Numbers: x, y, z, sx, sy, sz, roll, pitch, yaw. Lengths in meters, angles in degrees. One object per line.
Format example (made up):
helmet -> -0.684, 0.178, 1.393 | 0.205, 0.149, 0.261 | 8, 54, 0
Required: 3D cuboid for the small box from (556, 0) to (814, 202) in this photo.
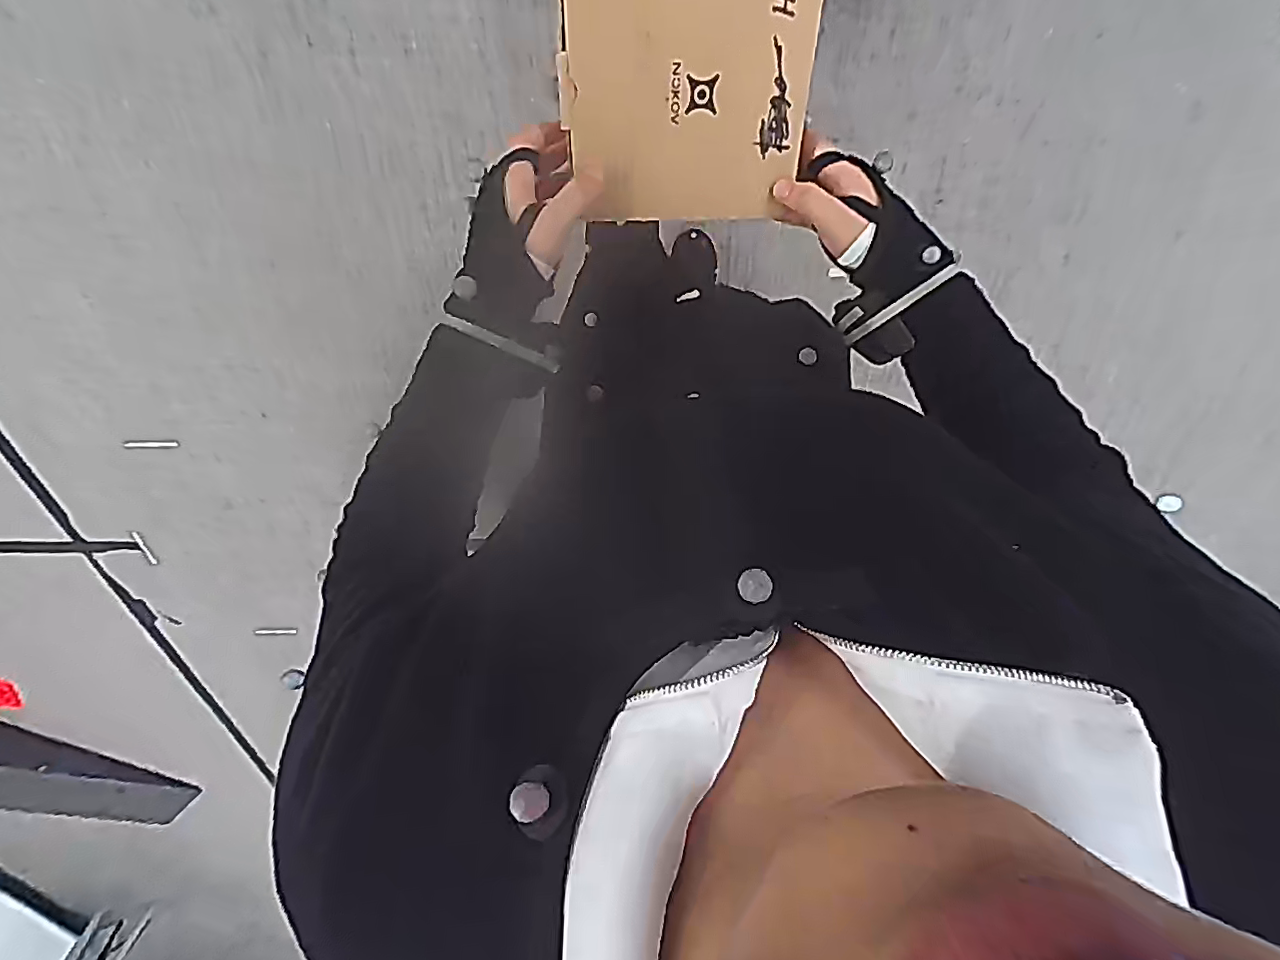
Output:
small box -> 0.025, -0.335, 0.449 | 0.179, 0.176, 0.168 | -2, 127, -4
